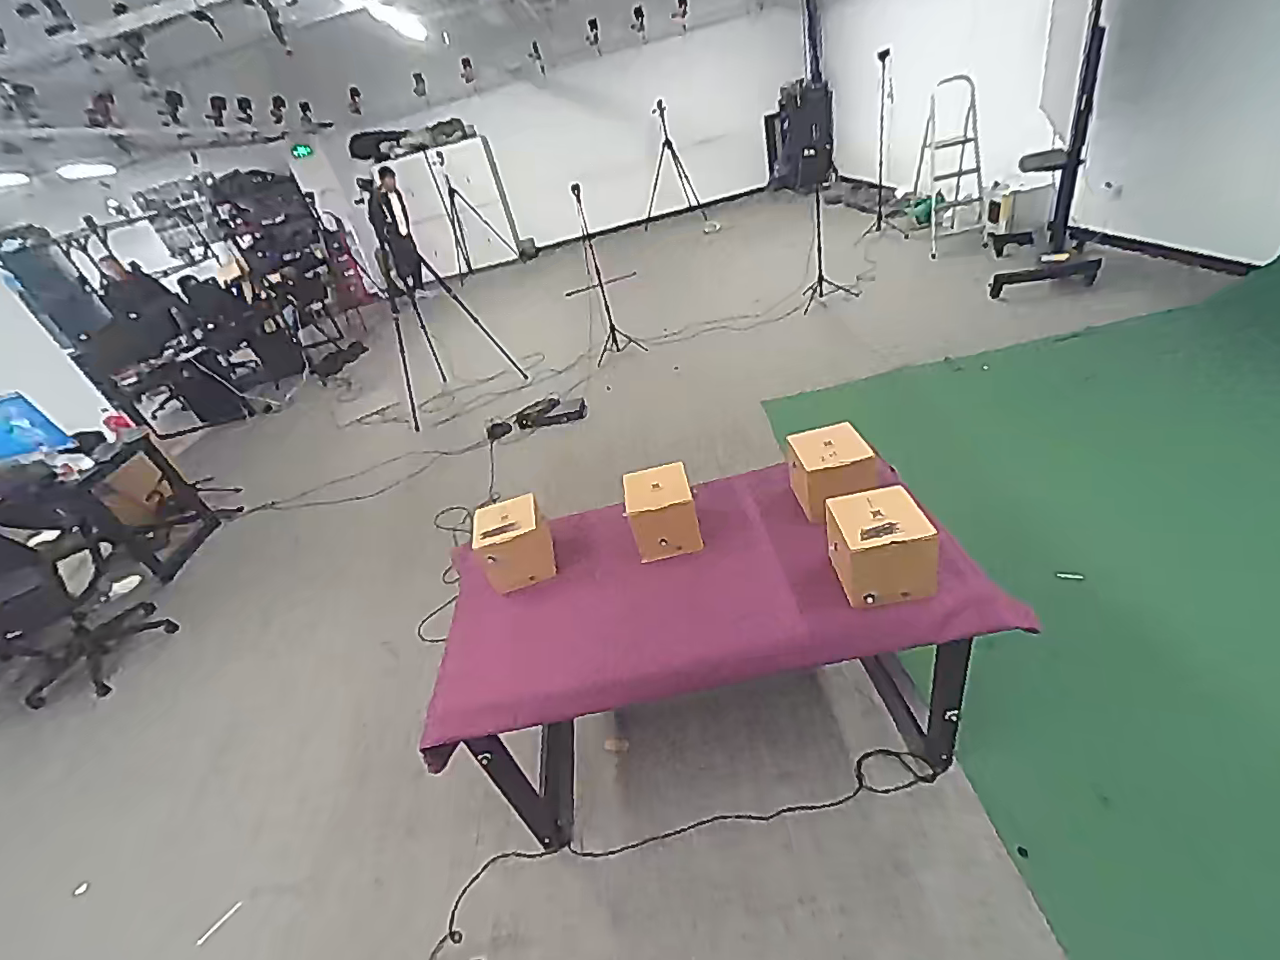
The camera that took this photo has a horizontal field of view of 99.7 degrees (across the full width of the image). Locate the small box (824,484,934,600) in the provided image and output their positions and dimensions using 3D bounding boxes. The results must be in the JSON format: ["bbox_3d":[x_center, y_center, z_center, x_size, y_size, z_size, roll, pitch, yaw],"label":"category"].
[{"bbox_3d":[0.500,0.137,1.146,0.168,0.176,0.179,-11,33,7],"label":"small box"}]

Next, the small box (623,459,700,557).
[{"bbox_3d":[0.055,0.074,1.415,0.168,0.176,0.179,-13,35,3],"label":"small box"}]

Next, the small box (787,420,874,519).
[{"bbox_3d":[0.483,-0.026,1.386,0.168,0.176,0.179,-13,35,5],"label":"small box"}]
